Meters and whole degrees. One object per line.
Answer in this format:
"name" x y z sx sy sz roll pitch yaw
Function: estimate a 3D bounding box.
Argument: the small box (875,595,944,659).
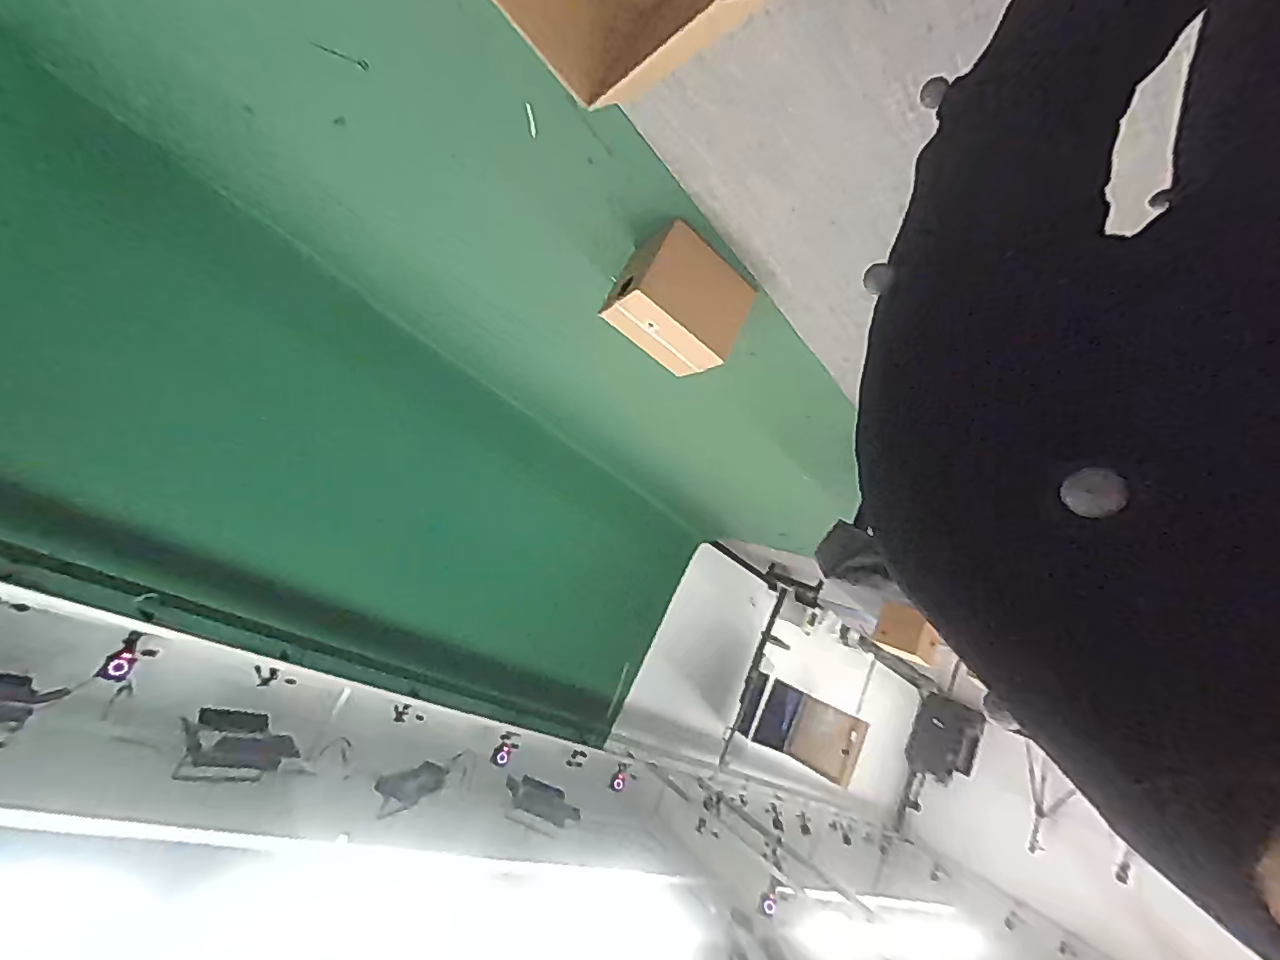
"small box" 1.028 0.554 2.052 0.168 0.176 0.179 35 165 -37
